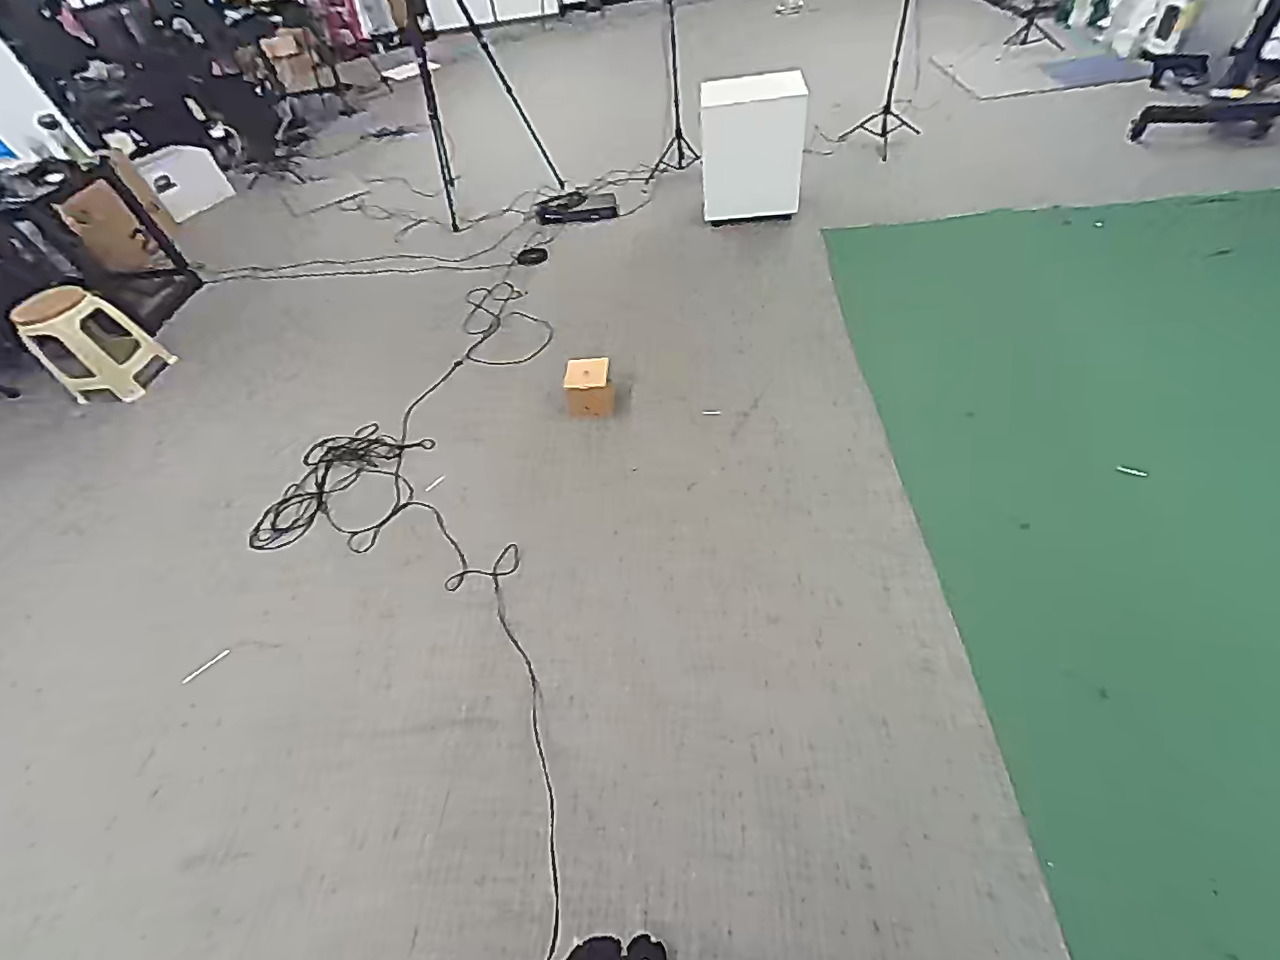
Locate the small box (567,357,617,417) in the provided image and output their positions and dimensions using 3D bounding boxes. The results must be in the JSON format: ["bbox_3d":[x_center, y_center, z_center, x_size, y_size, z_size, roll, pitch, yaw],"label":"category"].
[{"bbox_3d":[-0.188,-0.376,2.187,0.168,0.176,0.179,-3,50,7],"label":"small box"}]
